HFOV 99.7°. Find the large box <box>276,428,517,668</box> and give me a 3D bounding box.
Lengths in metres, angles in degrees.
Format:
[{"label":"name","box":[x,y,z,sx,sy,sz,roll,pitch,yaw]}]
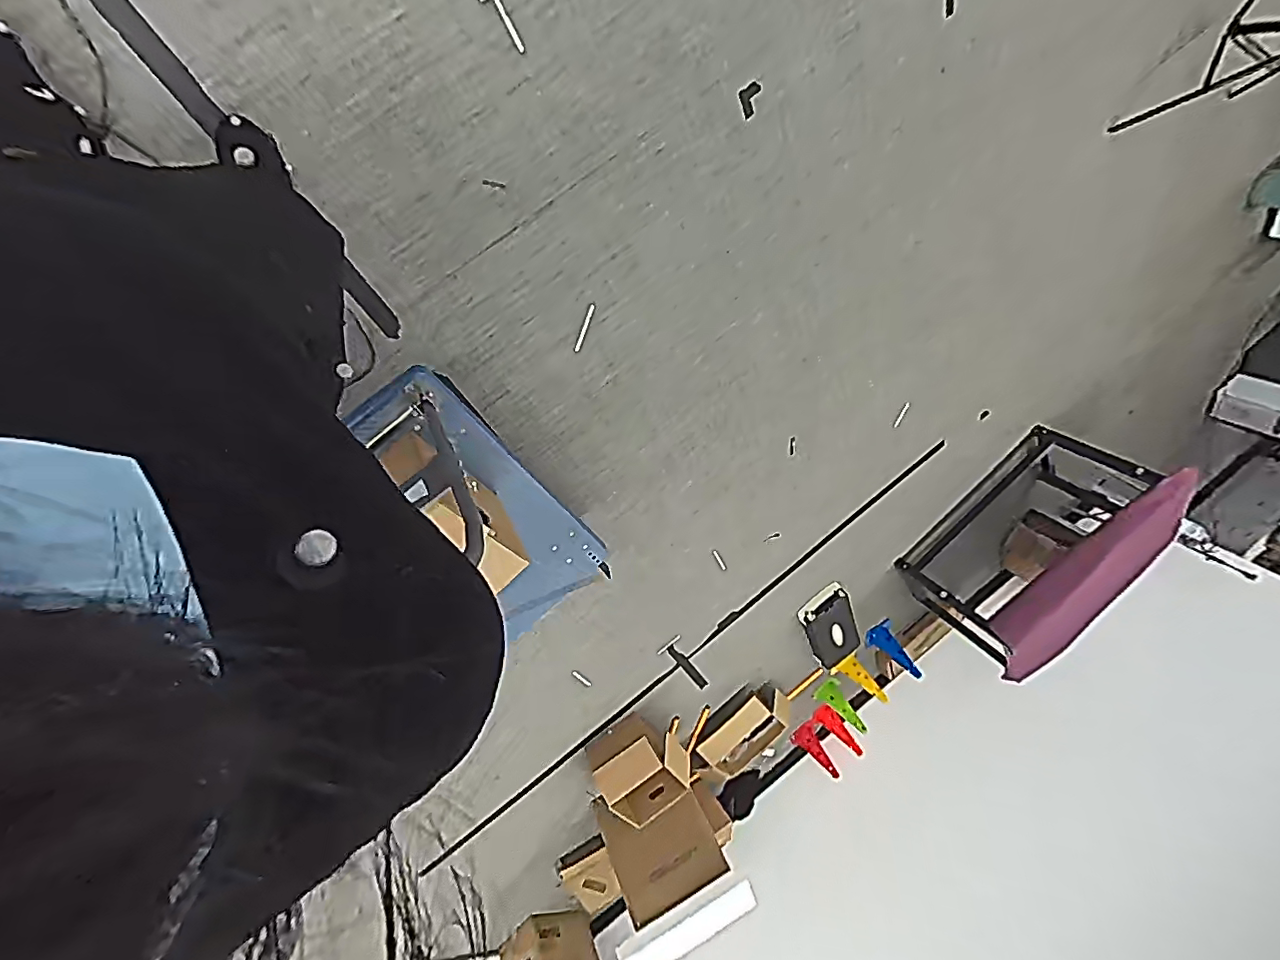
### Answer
[{"label":"large box","box":[-0.572,0.156,1.283,0.408,0.320,0.320,-42,131,1]}]
